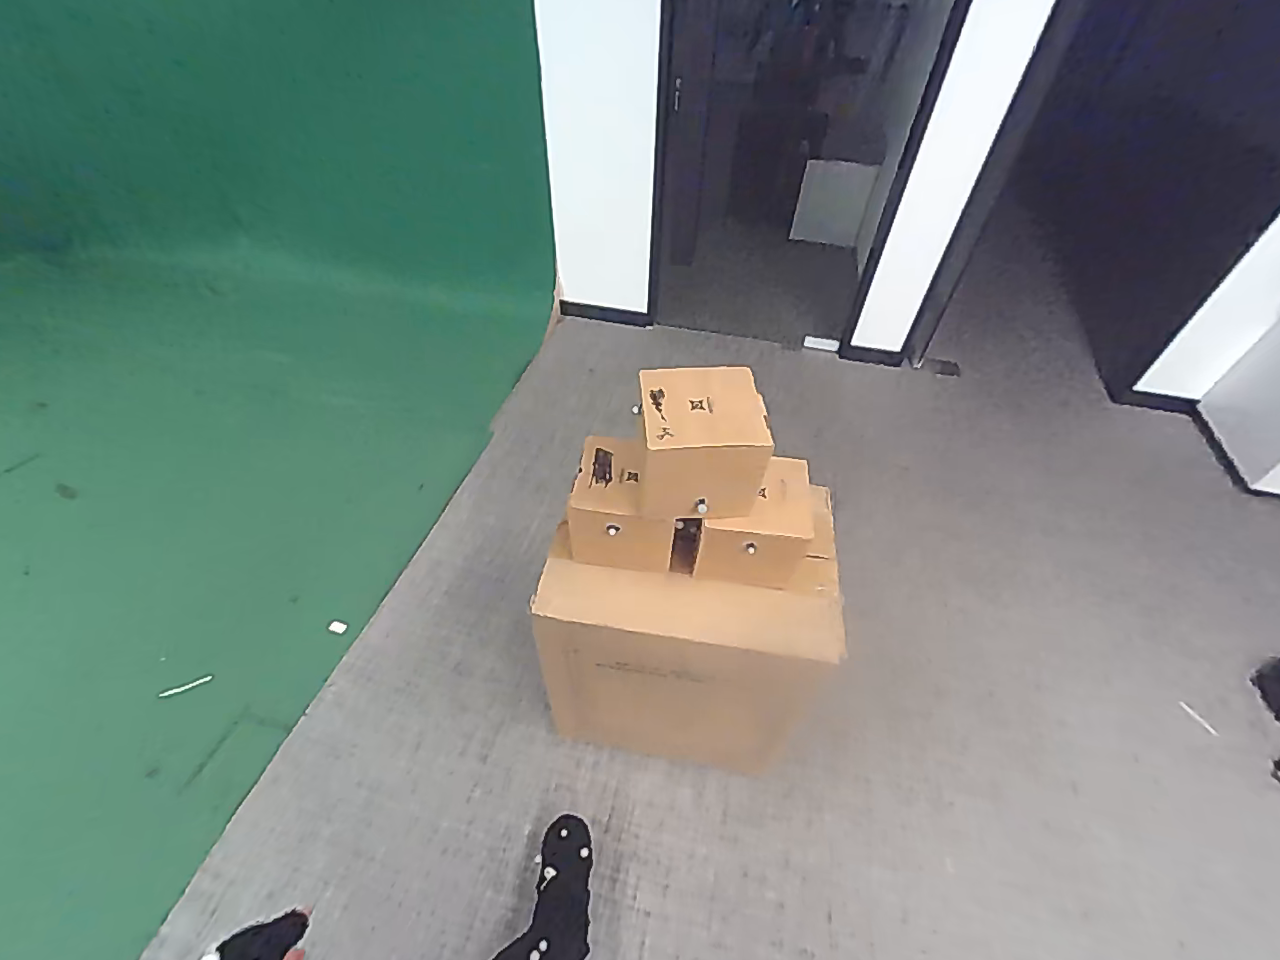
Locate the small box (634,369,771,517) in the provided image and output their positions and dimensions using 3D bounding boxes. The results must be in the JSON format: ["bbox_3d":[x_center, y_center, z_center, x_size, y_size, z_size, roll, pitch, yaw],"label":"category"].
[{"bbox_3d":[0.086,-0.054,0.846,0.179,0.176,0.168,-1,51,-5],"label":"small box"}]

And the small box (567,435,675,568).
[{"bbox_3d":[-0.024,0.042,0.973,0.179,0.176,0.168,8,51,3],"label":"small box"}]
